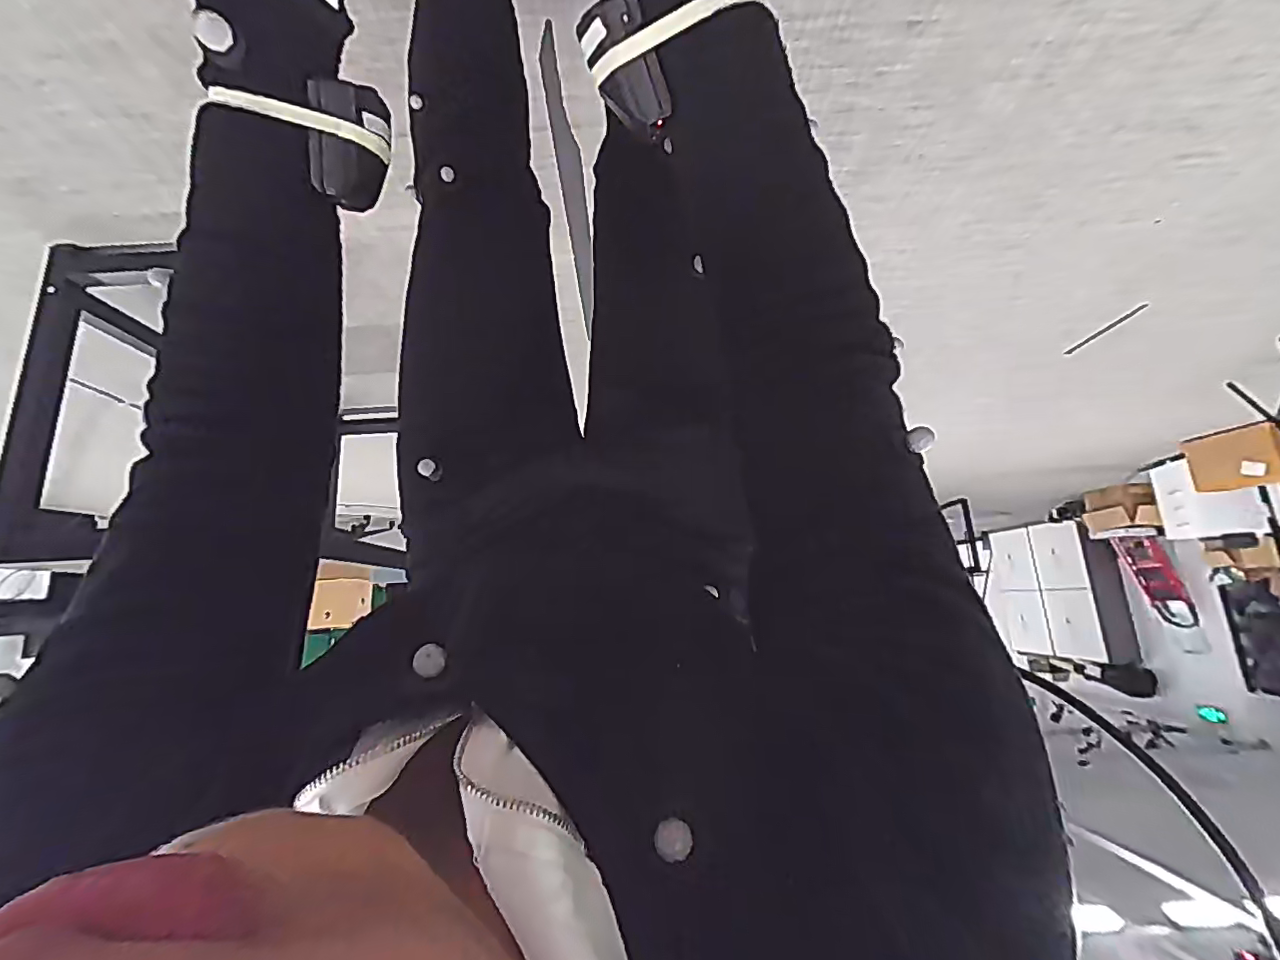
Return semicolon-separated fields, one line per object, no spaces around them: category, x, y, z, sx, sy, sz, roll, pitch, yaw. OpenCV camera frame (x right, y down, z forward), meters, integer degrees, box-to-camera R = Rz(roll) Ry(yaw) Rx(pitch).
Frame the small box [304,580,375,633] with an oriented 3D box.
small box;-1.060;0.447;1.919;0.179;0.176;0.168;-2;166;-3
